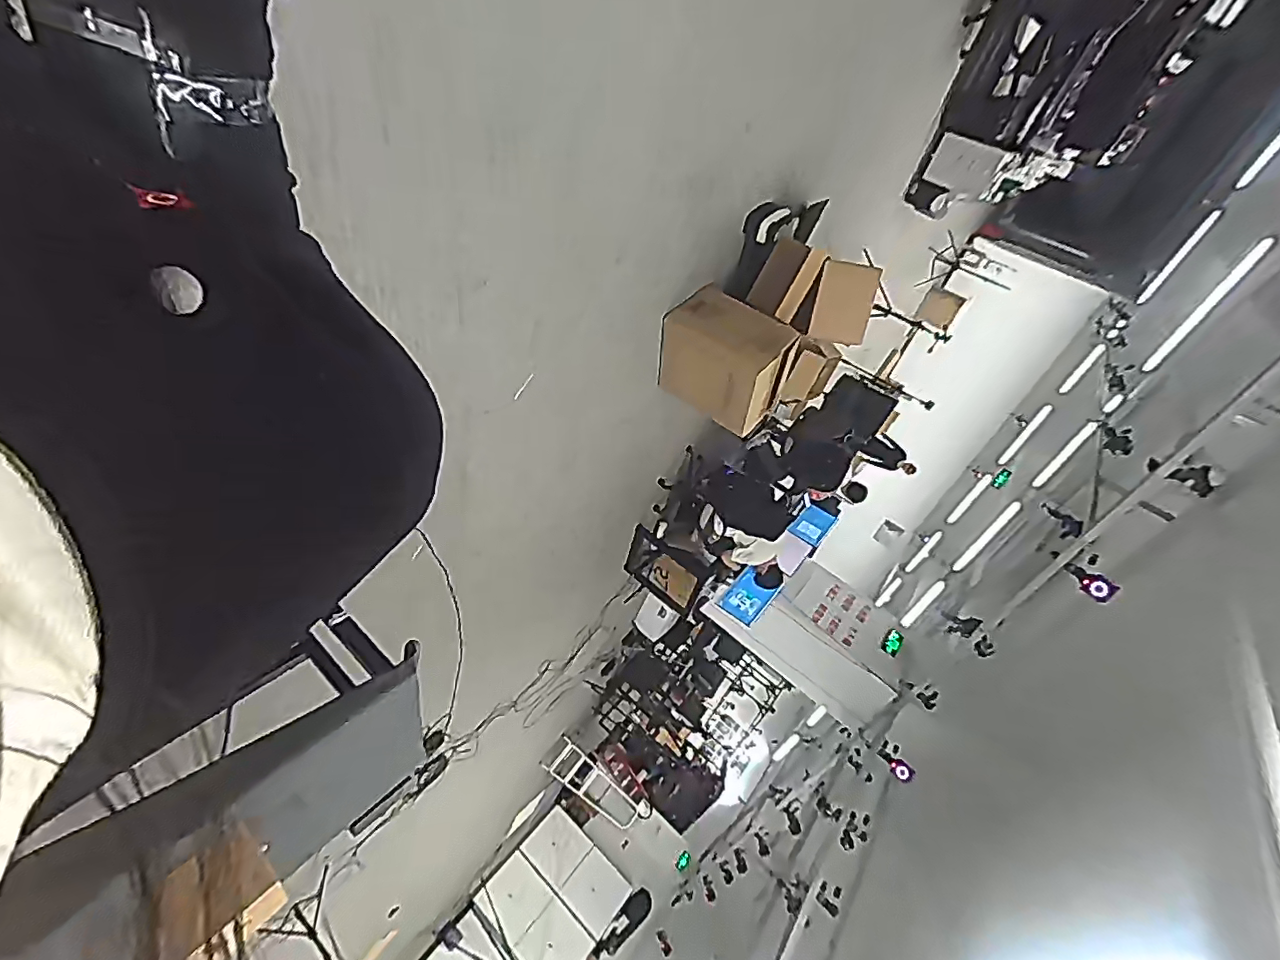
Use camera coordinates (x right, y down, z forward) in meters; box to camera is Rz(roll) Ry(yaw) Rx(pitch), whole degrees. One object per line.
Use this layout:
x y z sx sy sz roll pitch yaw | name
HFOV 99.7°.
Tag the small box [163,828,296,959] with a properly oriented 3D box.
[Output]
-0.898 0.919 1.184 0.179 0.176 0.168 -34 151 -45 | small box
